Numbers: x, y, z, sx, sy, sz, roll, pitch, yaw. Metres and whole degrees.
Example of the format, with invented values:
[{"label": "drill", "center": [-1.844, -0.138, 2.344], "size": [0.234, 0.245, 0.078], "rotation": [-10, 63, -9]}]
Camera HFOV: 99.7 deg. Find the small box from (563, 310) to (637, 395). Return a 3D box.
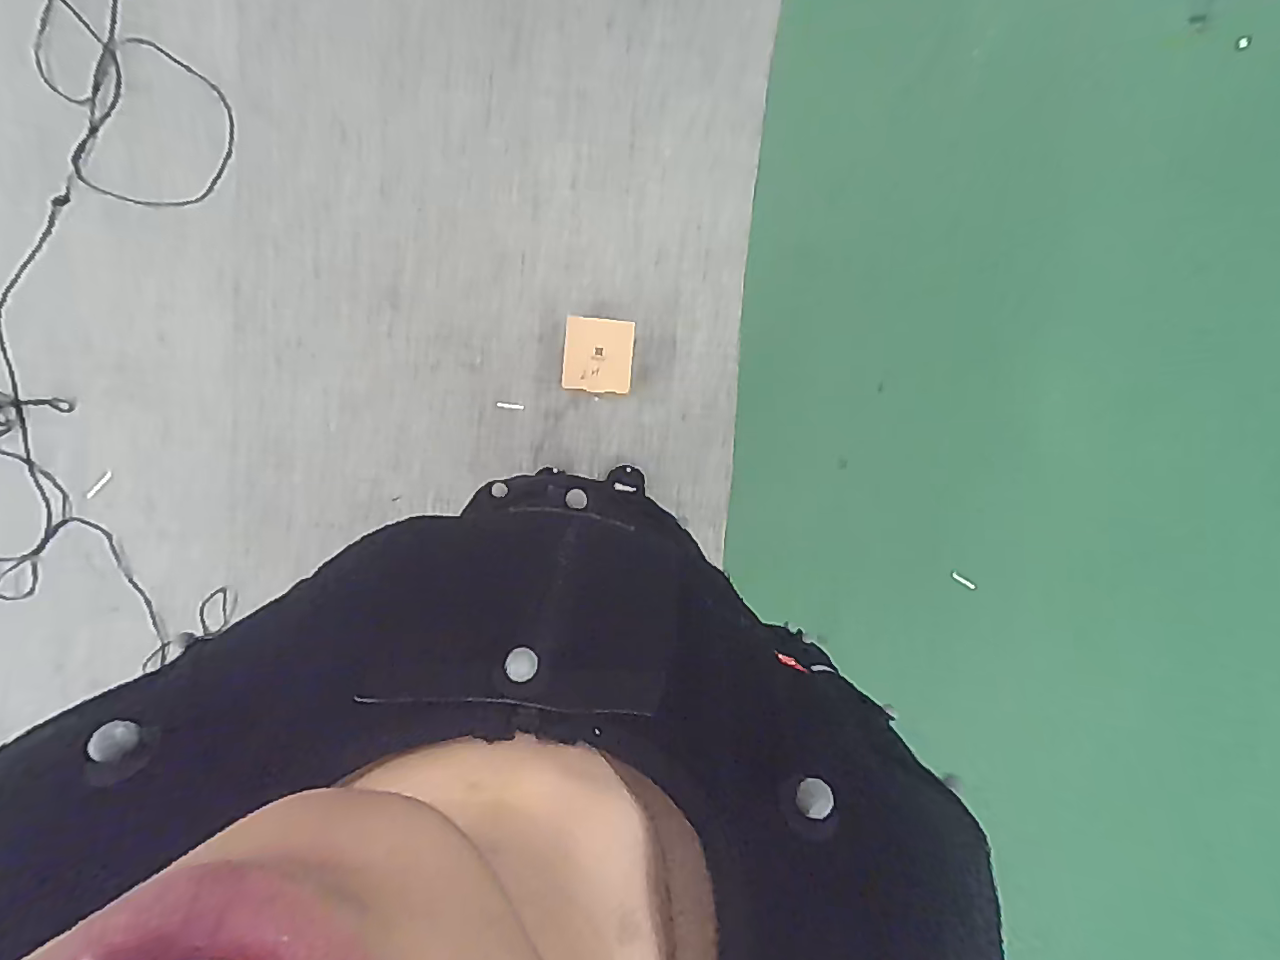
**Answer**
[{"label": "small box", "center": [-0.101, -0.318, 1.382], "size": [0.168, 0.176, 0.179], "rotation": [5, 94, -2]}]
